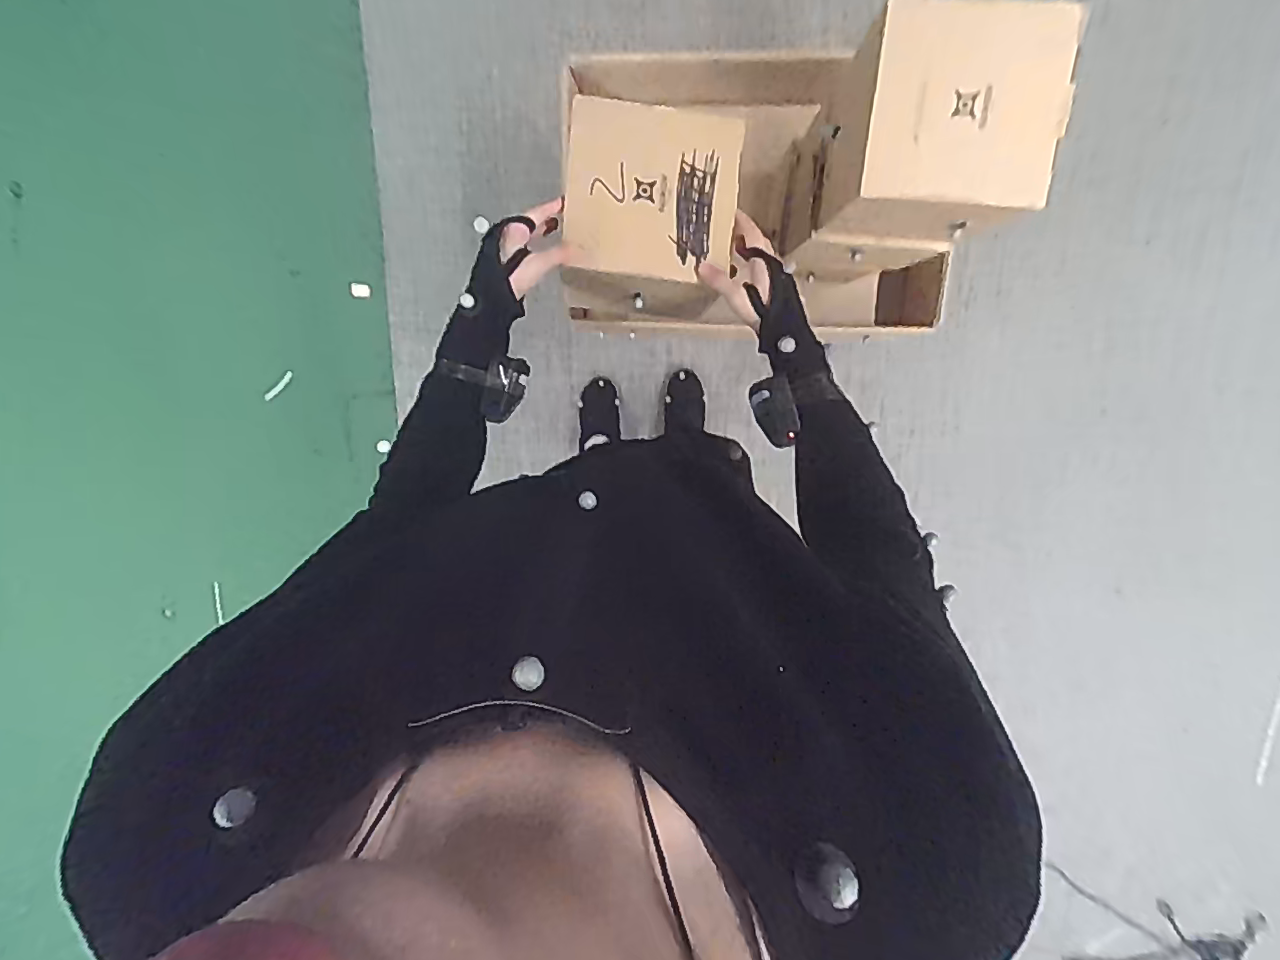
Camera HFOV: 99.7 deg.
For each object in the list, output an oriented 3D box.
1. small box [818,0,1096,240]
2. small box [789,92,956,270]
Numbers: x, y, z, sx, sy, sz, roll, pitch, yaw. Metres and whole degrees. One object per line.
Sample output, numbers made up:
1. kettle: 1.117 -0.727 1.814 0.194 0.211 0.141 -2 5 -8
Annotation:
1. small box: 0.302 -0.356 0.560 0.179 0.176 0.168 5 102 3
2. small box: 0.308 -0.383 0.721 0.179 0.176 0.168 6 103 3
